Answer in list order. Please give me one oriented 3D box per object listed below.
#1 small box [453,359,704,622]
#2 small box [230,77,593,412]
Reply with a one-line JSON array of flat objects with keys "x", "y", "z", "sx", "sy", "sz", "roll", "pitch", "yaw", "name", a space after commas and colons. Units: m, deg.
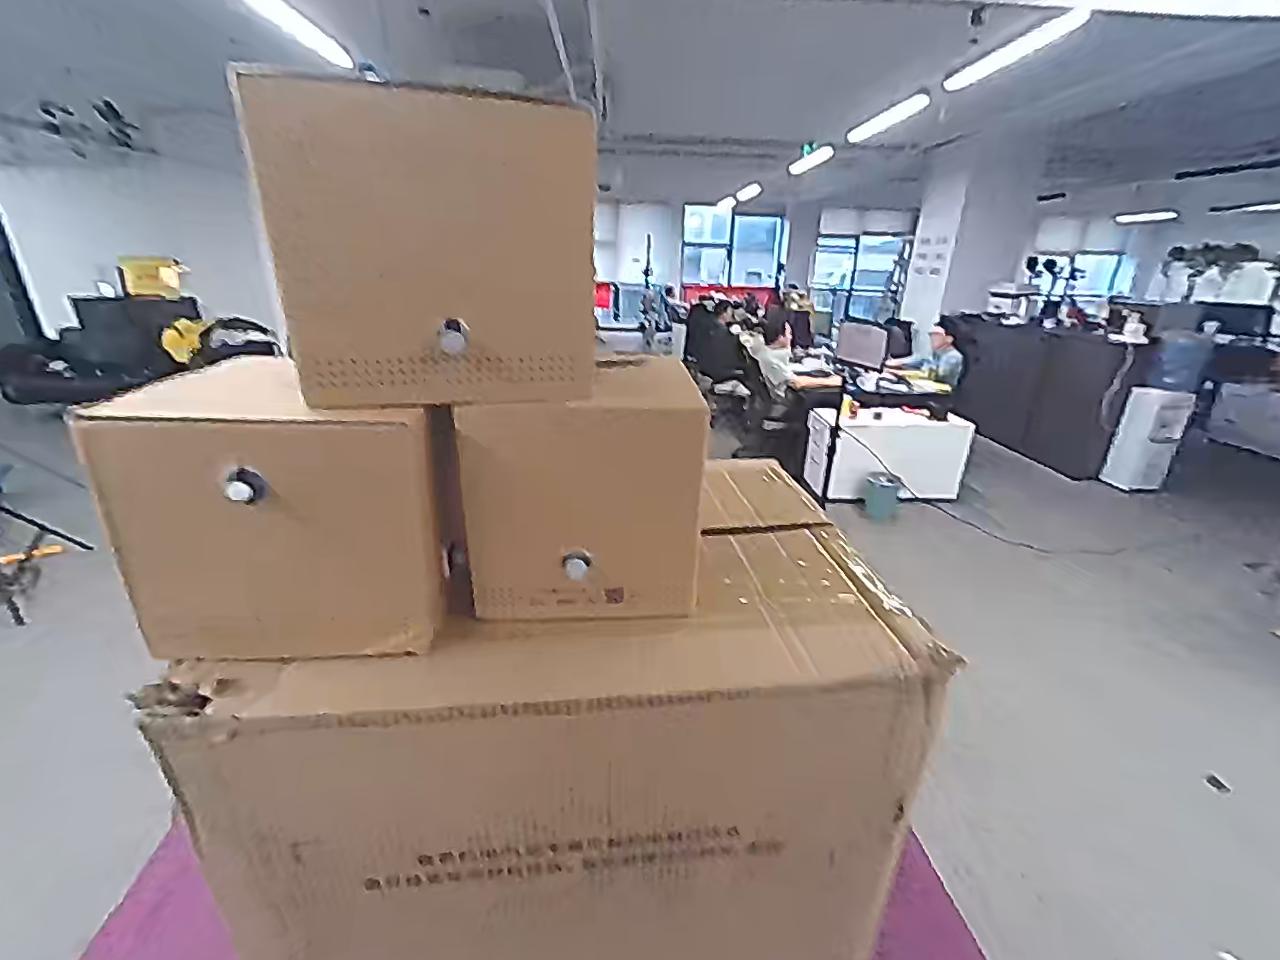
[{"x": -0.045, "y": -0.002, "z": 0.453, "sx": 0.168, "sy": 0.176, "sz": 0.179, "roll": -1, "pitch": 24, "yaw": -3, "name": "small box"}, {"x": -0.133, "y": -0.150, "z": 0.377, "sx": 0.179, "sy": 0.176, "sz": 0.168, "roll": -4, "pitch": 24, "yaw": -15, "name": "small box"}]
